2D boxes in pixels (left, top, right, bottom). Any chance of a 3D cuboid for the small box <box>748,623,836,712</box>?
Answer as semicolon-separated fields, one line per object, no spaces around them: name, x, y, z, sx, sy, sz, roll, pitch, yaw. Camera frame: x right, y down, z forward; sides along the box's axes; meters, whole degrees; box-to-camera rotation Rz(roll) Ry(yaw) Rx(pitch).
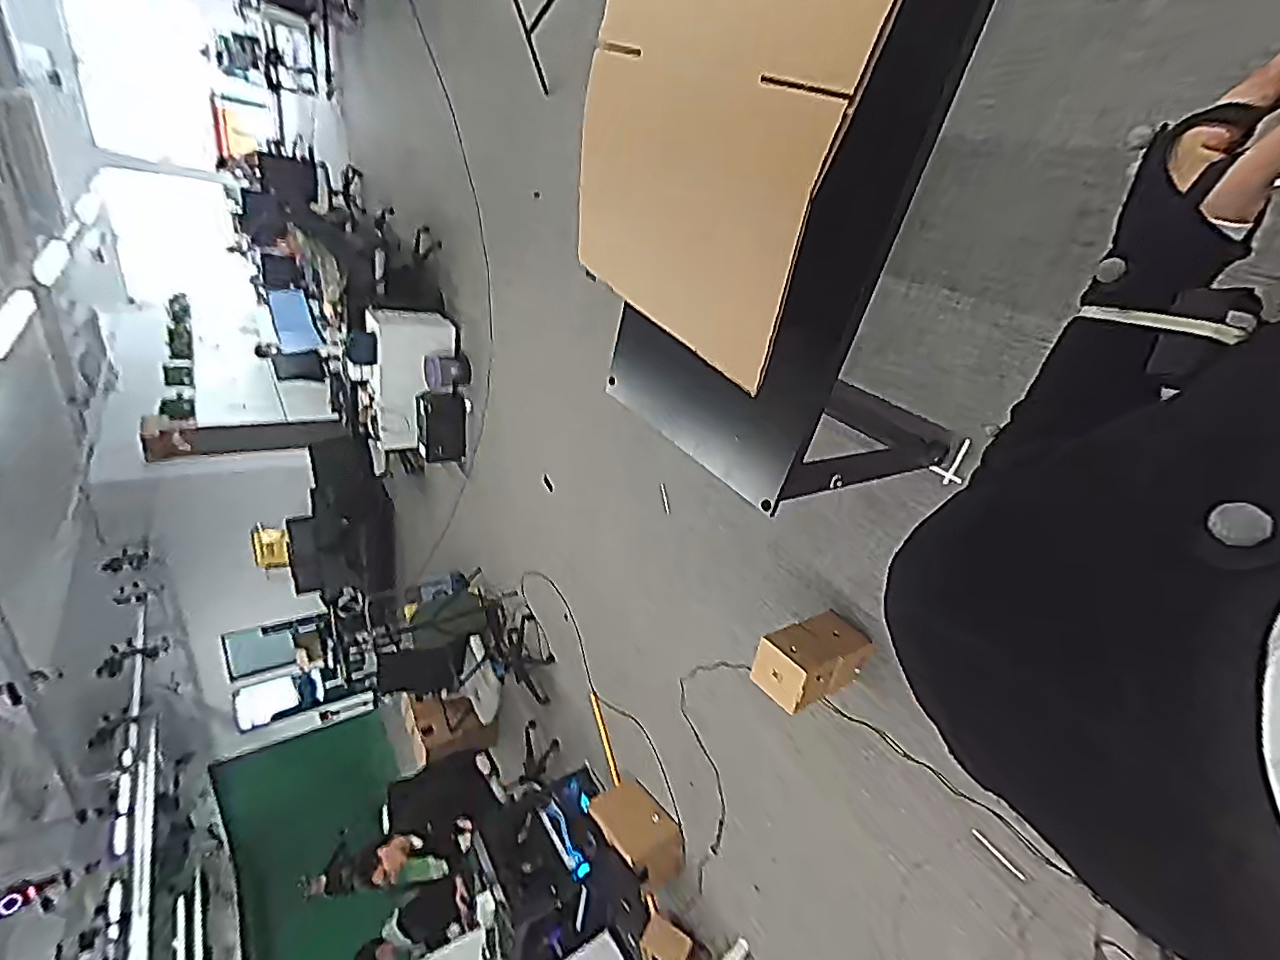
small box;0.467;0.565;1.659;0.179;0.176;0.168;36;124;46

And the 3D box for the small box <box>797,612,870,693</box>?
small box;0.601;0.547;1.749;0.179;0.176;0.168;38;126;42
